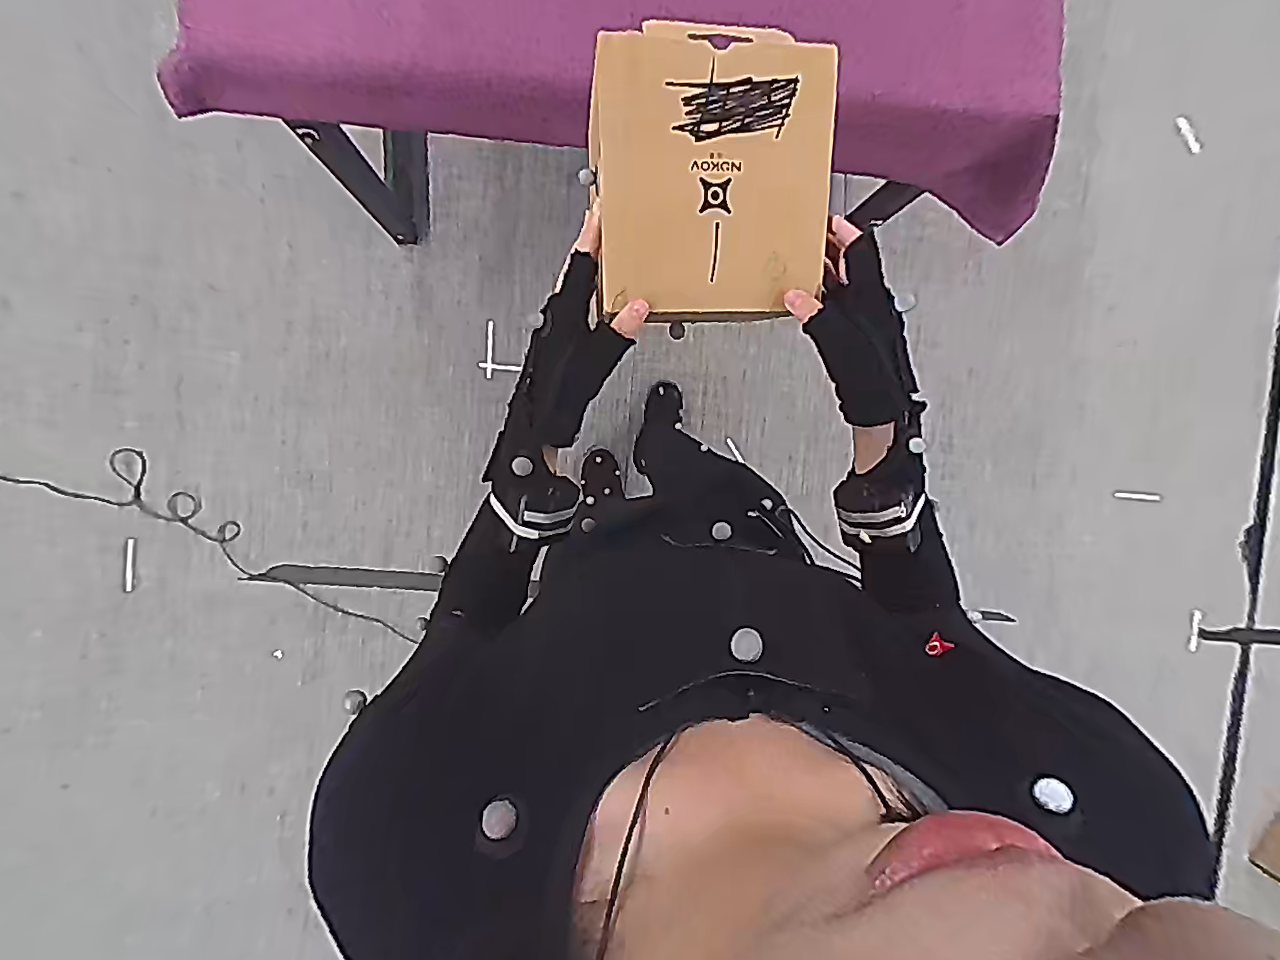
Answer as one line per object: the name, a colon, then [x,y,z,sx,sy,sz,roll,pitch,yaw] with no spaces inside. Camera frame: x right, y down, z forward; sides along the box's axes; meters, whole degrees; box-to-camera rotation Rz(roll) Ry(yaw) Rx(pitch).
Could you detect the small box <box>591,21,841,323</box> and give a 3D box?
small box: [0.046,-0.228,0.450,0.168,0.176,0.179,-2,103,-6]
